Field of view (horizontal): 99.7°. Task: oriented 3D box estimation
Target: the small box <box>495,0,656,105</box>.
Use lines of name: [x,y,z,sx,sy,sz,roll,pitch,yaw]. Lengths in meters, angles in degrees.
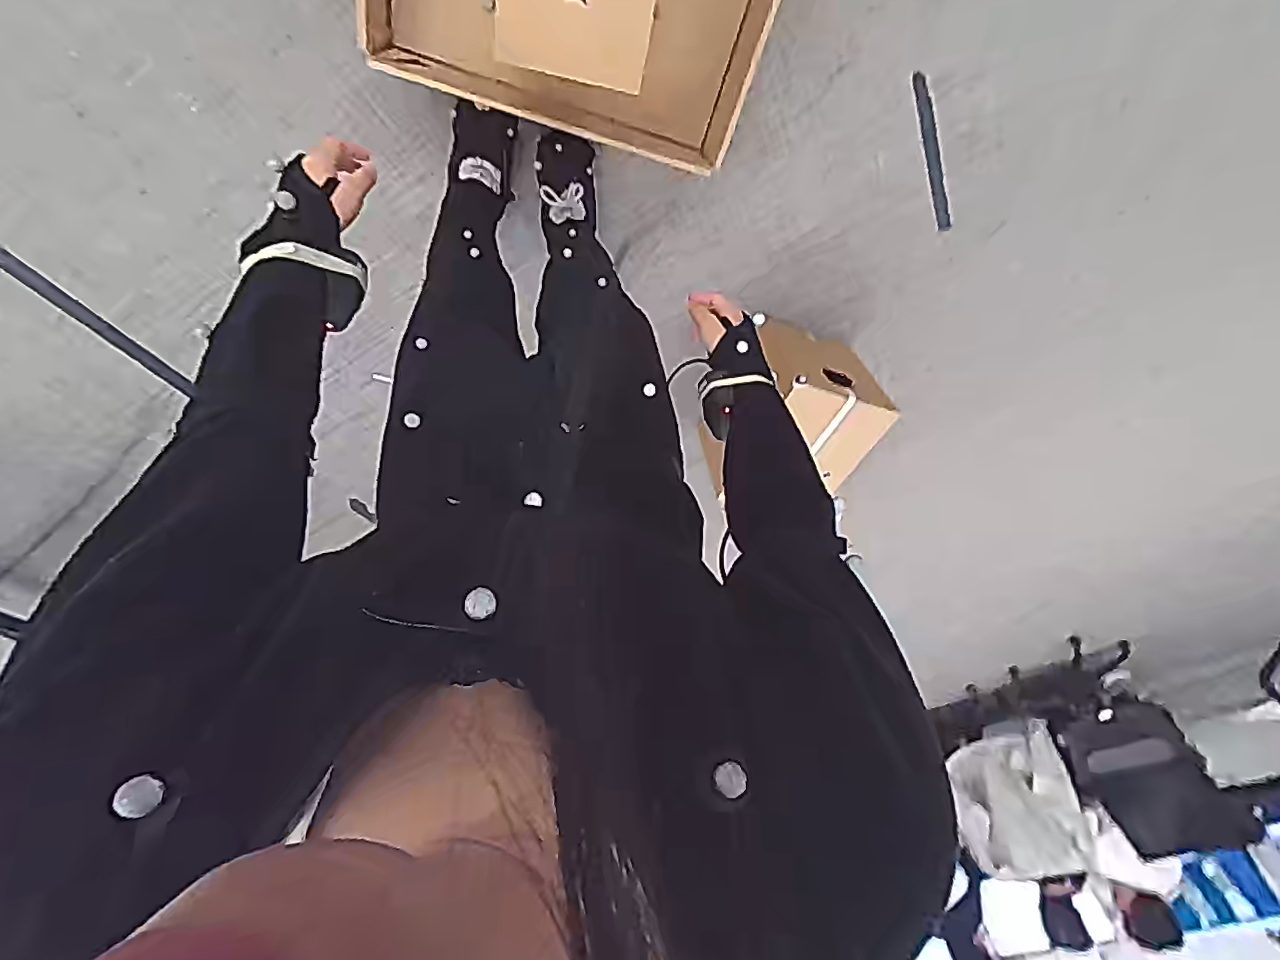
small box: [-0.073,-0.566,0.618,0.168,0.176,0.179,4,133,-15]
